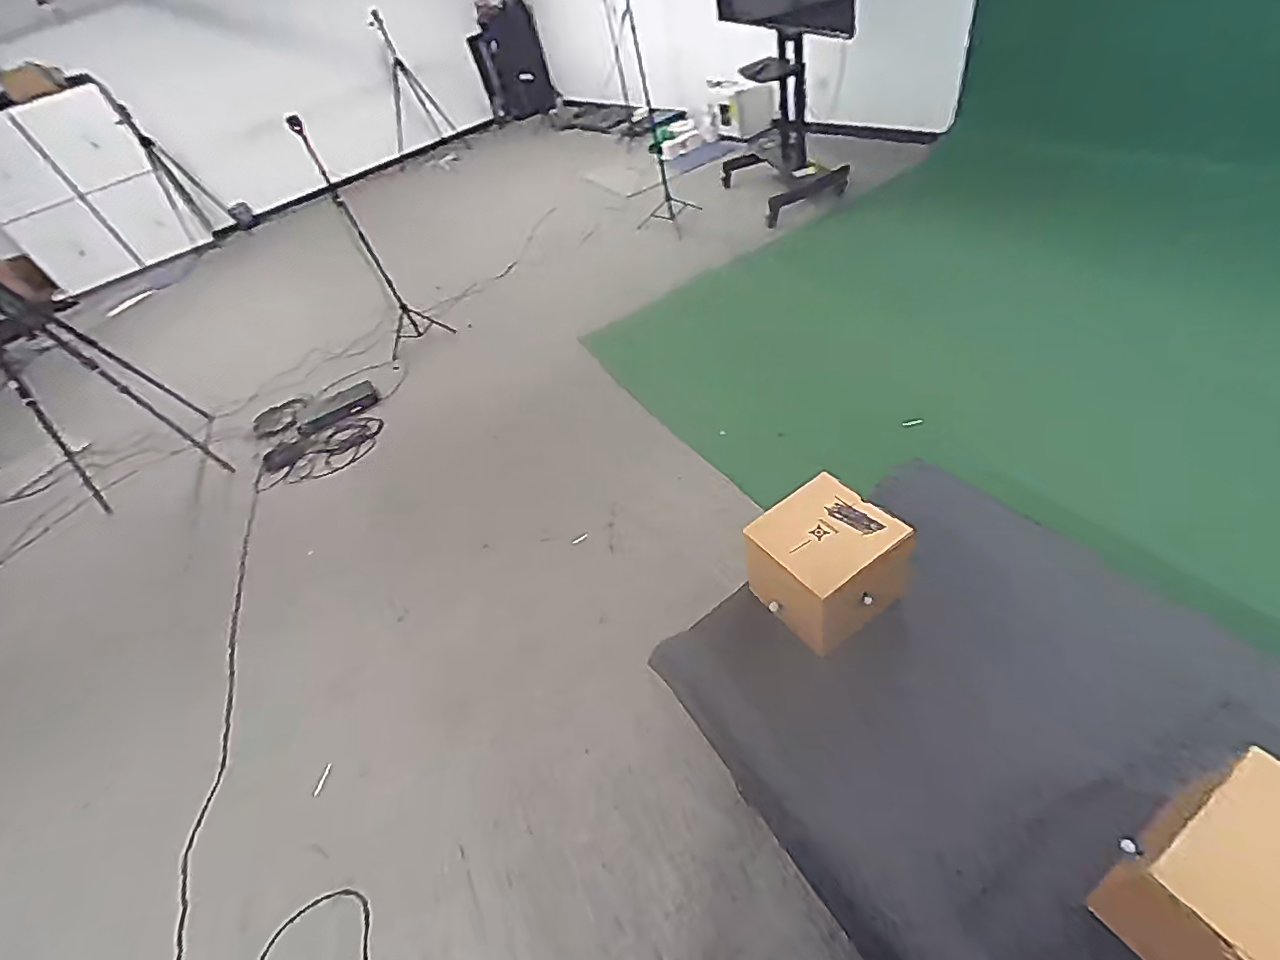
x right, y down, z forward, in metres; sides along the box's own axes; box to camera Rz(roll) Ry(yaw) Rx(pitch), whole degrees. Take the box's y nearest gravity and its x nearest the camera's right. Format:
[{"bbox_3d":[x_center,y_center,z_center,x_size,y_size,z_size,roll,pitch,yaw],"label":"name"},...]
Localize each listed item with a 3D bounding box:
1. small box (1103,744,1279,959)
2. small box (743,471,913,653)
[{"bbox_3d":[0.561,0.383,0.477,0.179,0.176,0.168,-32,46,-16],"label":"small box"},{"bbox_3d":[0.280,0.125,0.827,0.179,0.176,0.168,-32,45,-15],"label":"small box"}]
